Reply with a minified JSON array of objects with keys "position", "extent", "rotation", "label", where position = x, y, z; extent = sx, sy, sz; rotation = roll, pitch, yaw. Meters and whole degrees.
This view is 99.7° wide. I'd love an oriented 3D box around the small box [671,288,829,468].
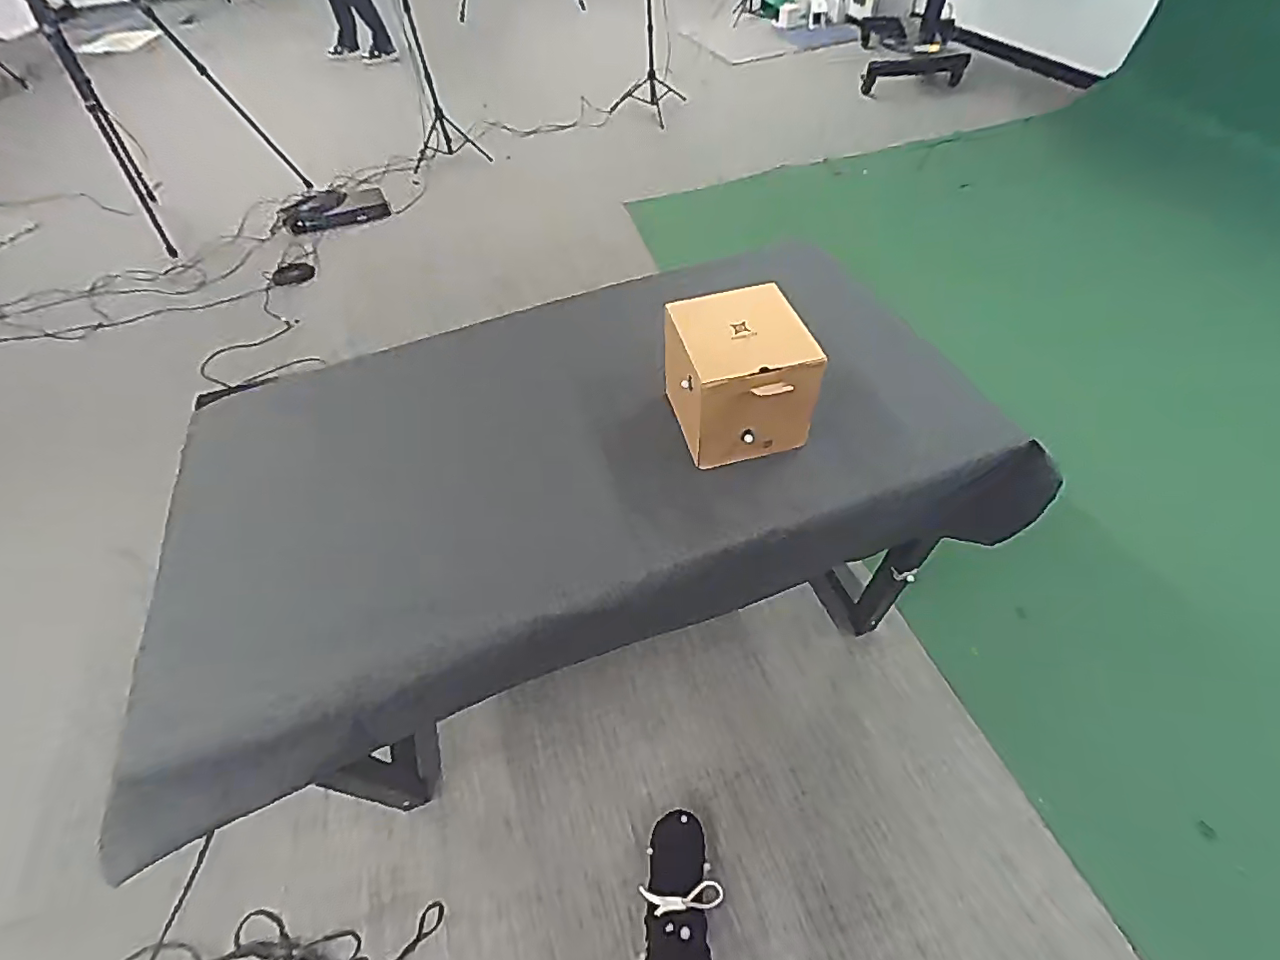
[{"position":[0.142,-0.145,0.778],"extent":[0.168,0.176,0.179],"rotation":[-13,53,-6],"label":"small box"}]
